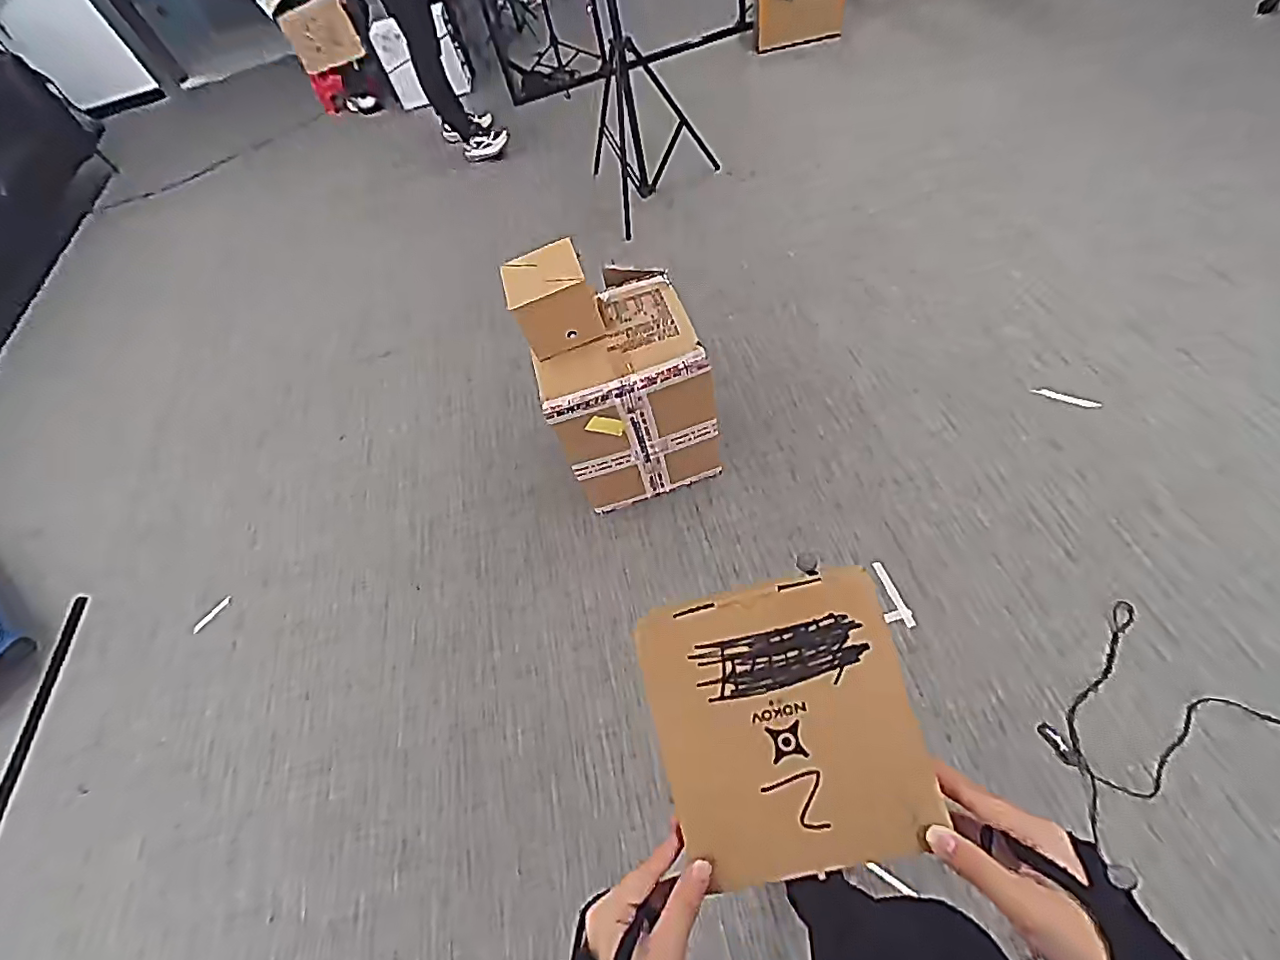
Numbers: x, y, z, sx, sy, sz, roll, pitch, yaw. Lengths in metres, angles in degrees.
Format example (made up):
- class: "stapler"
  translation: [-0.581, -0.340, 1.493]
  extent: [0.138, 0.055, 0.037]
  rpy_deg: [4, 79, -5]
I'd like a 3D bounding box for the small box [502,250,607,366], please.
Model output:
- class: "small box"
  translation: [-0.198, -0.405, 1.263]
  extent: [0.179, 0.176, 0.168]
  rpy_deg: [-21, 57, 3]
